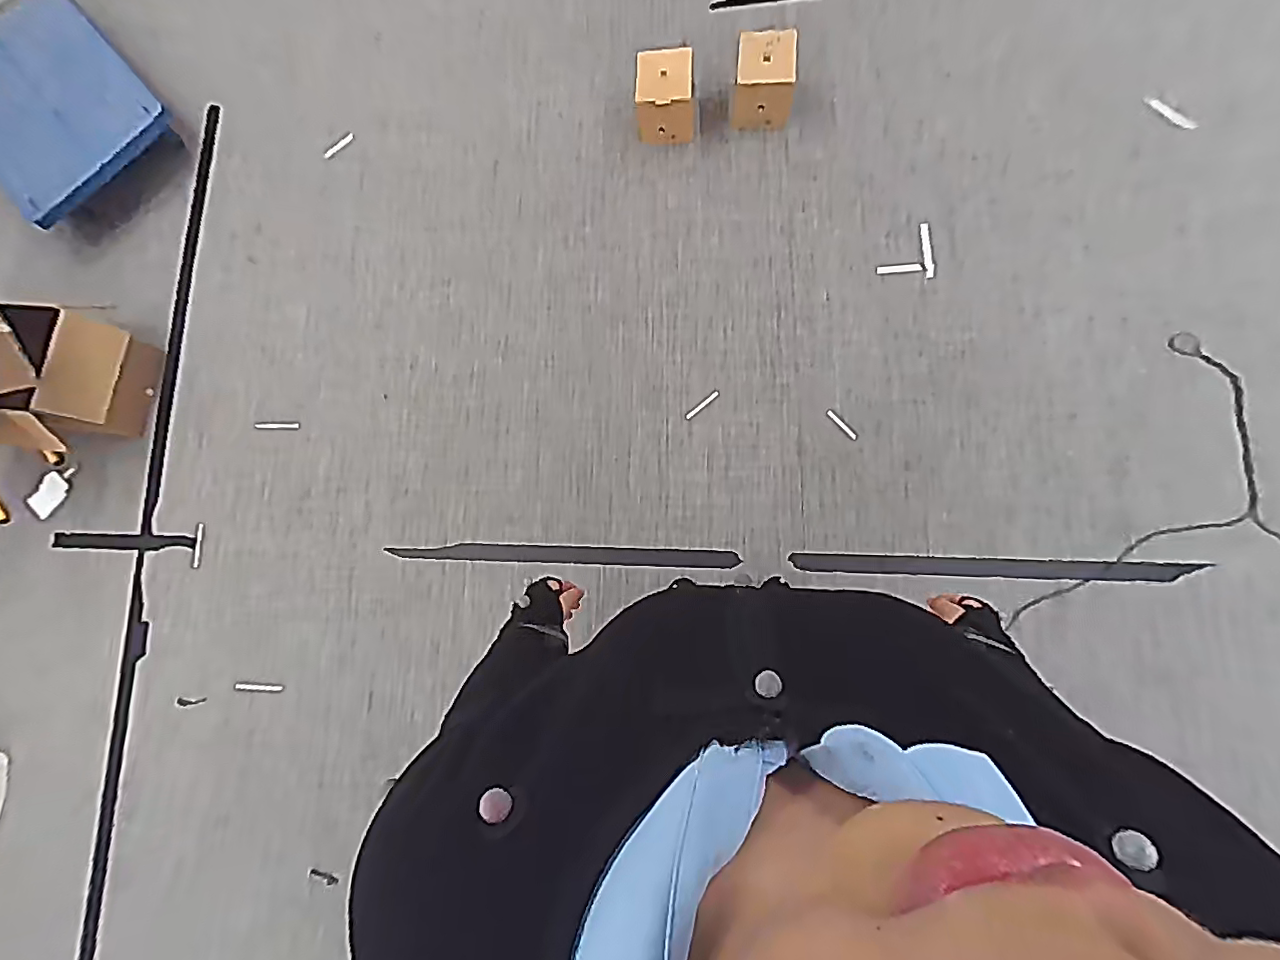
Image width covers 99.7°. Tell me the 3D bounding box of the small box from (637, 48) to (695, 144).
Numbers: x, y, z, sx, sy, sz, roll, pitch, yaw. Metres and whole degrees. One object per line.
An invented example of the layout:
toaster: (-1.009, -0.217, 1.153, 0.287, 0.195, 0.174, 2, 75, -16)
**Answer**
small box: (0.084, -1.182, 1.673, 0.168, 0.176, 0.179, 1, 81, 8)

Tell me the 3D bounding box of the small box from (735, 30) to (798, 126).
small box: (0.379, -1.208, 1.638, 0.168, 0.176, 0.179, 4, 81, 7)
